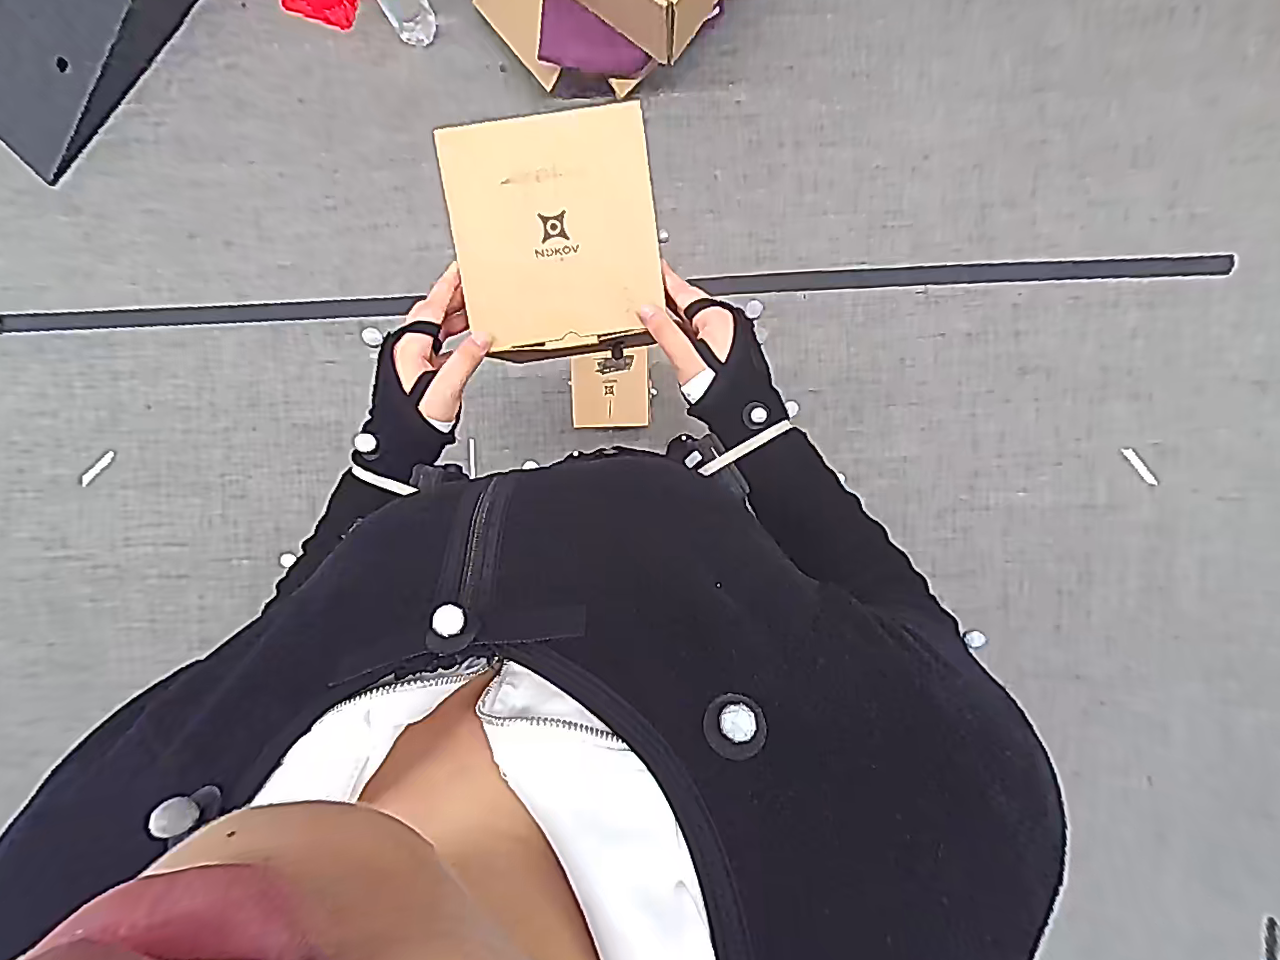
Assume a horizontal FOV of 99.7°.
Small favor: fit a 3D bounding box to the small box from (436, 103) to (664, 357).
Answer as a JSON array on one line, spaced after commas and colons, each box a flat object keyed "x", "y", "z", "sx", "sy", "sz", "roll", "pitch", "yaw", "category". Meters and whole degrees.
[{"x": -0.071, "y": -0.215, "z": 0.517, "sx": 0.168, "sy": 0.176, "sz": 0.179, "roll": -8, "pitch": 99, "yaw": -1, "category": "small box"}]

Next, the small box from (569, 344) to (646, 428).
[{"x": -0.070, "y": -0.208, "z": 1.234, "sx": 0.168, "sy": 0.176, "sz": 0.179, "roll": -1, "pitch": 96, "yaw": 1, "category": "small box"}]
